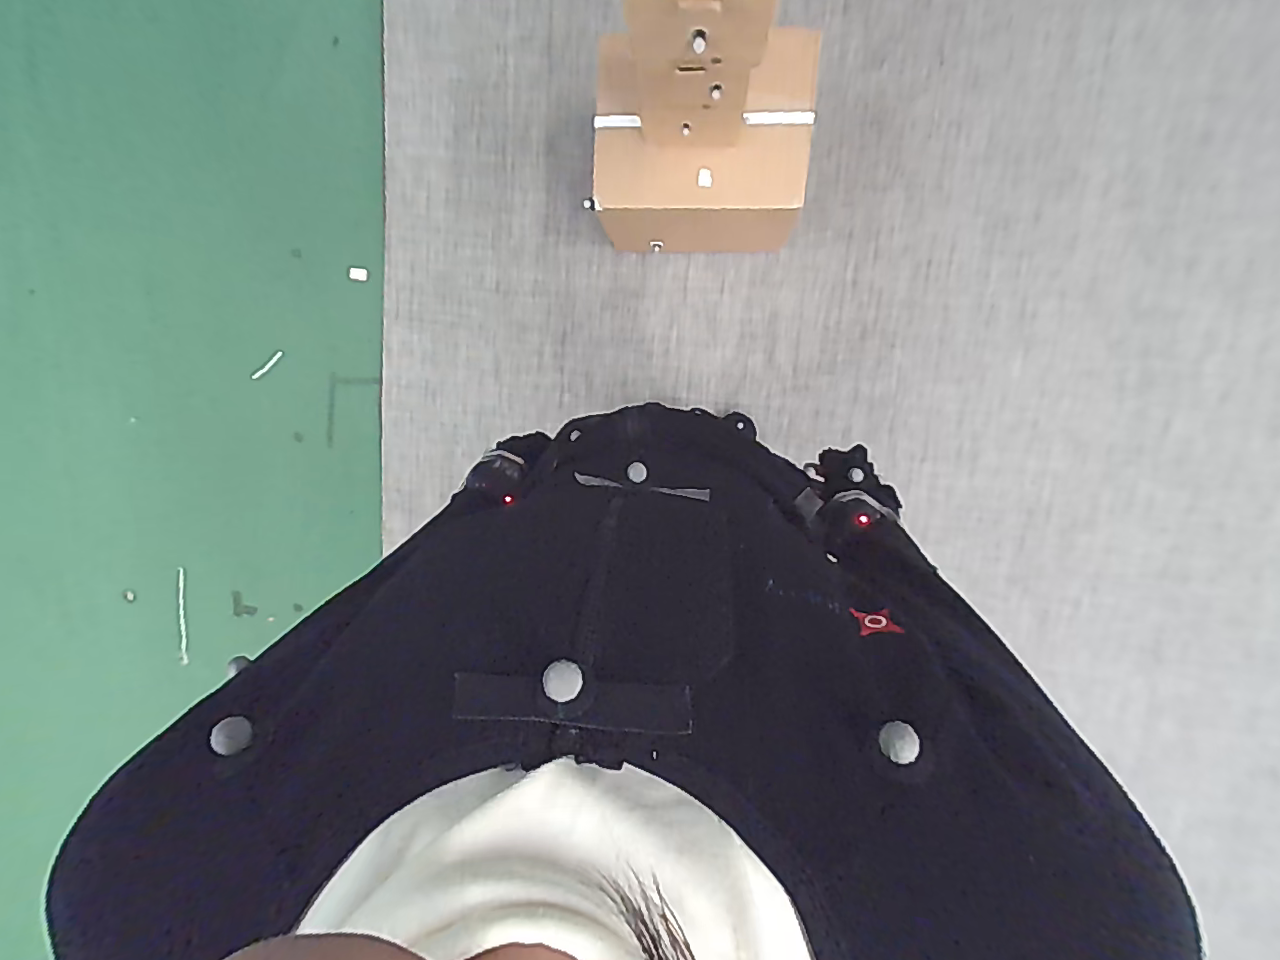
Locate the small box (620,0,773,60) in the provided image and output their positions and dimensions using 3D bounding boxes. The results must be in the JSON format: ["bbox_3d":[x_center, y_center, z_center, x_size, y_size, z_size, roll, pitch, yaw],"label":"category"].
[{"bbox_3d":[0.072,-0.605,0.605,0.168,0.176,0.179,4,106,6],"label":"small box"}]

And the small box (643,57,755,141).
[{"bbox_3d":[0.101,-0.695,0.916,0.179,0.176,0.168,3,105,7],"label":"small box"}]

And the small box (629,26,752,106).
[{"bbox_3d":[0.080,-0.655,0.761,0.168,0.176,0.179,4,104,6],"label":"small box"}]
